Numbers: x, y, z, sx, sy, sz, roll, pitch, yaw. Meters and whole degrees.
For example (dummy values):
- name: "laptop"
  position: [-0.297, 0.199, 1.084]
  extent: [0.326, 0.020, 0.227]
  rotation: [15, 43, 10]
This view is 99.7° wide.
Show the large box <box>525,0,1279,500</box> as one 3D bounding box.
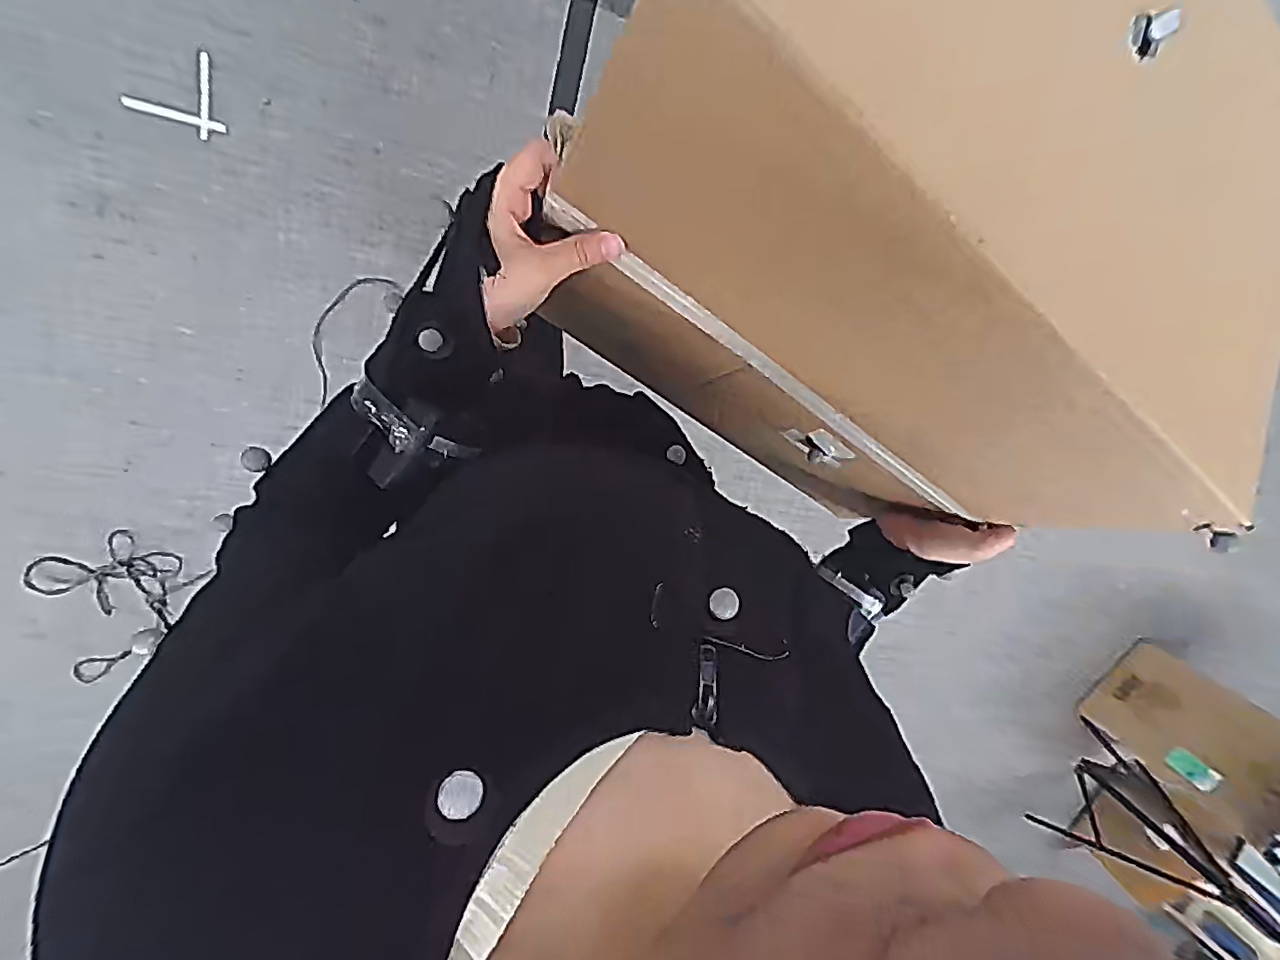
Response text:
- name: "large box"
  position: [0.189, -0.215, 0.375]
  extent: [0.408, 0.320, 0.320]
  rotation: [30, 78, -19]
